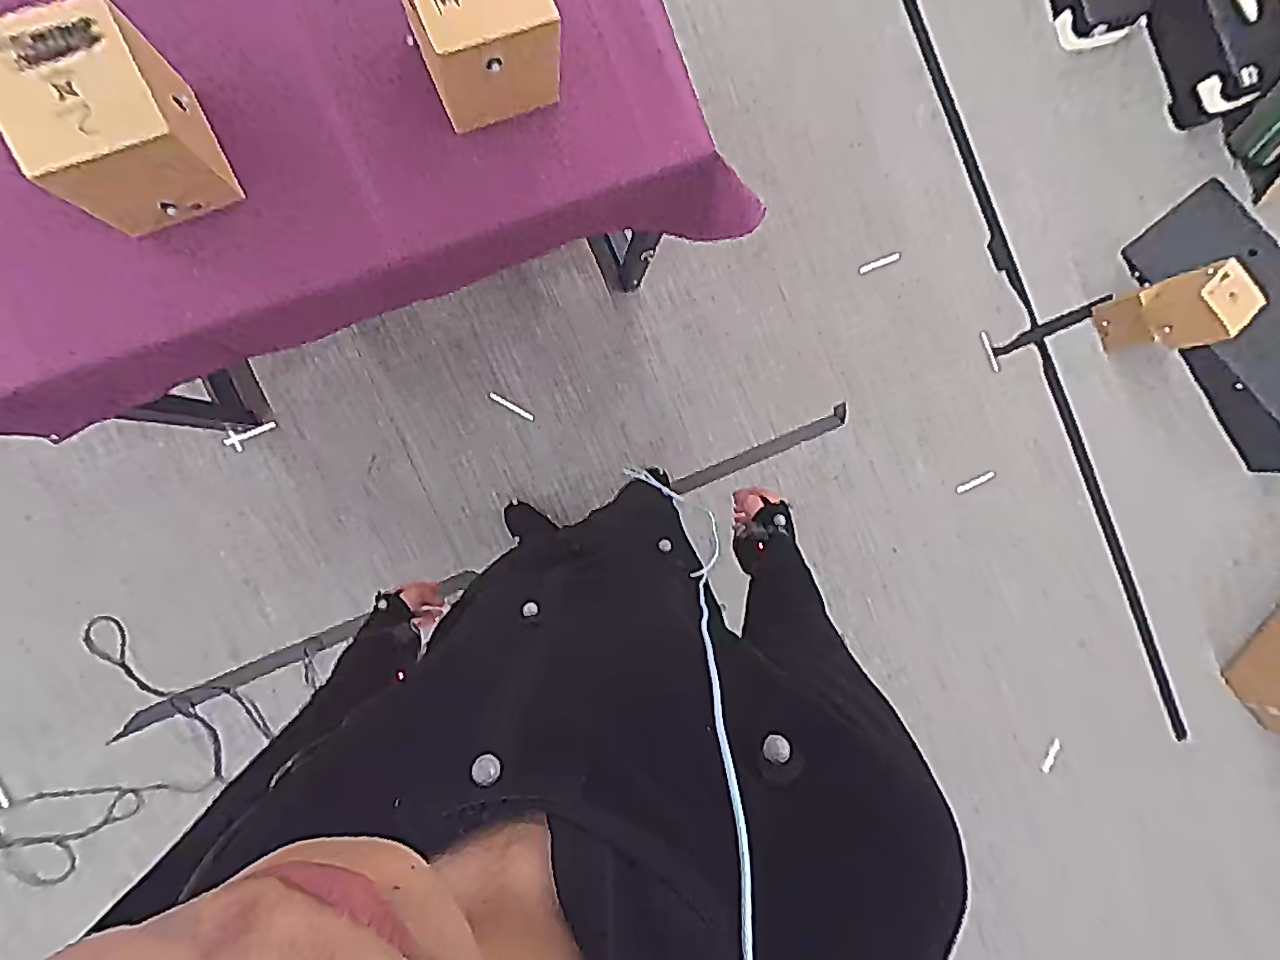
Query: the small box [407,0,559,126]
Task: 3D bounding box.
[{"bbox_3d":[-0.225,-0.651,0.772,0.179,0.176,0.168,-24,95,-8],"label":"small box"}]
